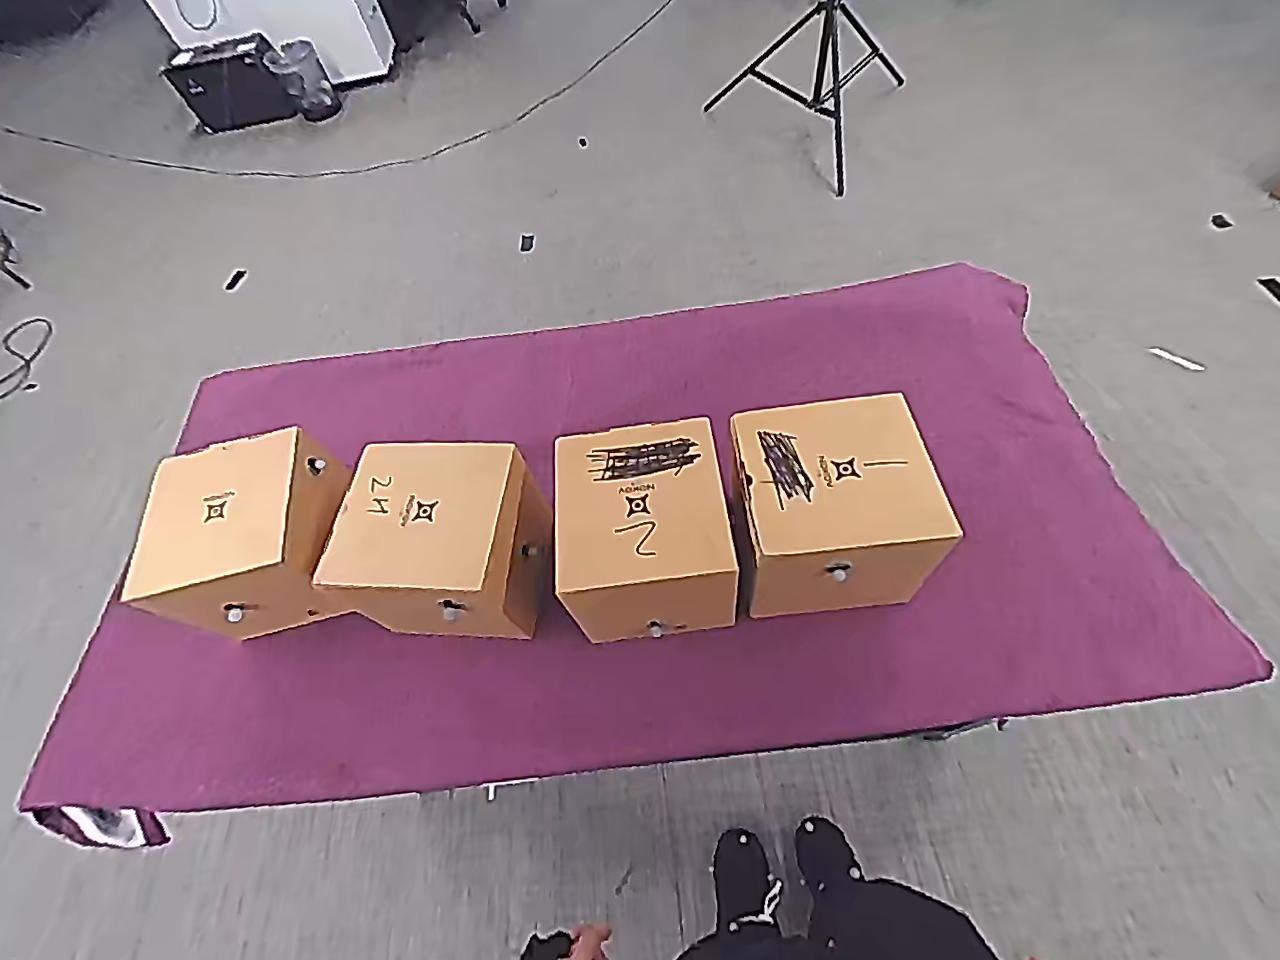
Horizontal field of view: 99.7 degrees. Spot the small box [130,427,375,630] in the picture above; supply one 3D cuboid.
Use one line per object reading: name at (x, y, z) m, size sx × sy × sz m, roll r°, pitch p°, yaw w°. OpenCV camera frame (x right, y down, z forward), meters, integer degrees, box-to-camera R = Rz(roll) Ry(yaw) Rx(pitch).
small box at (-0.443, 0.070, 0.653) m, size 0.168 × 0.176 × 0.179 m, roll -15°, pitch 59°, yaw -1°
